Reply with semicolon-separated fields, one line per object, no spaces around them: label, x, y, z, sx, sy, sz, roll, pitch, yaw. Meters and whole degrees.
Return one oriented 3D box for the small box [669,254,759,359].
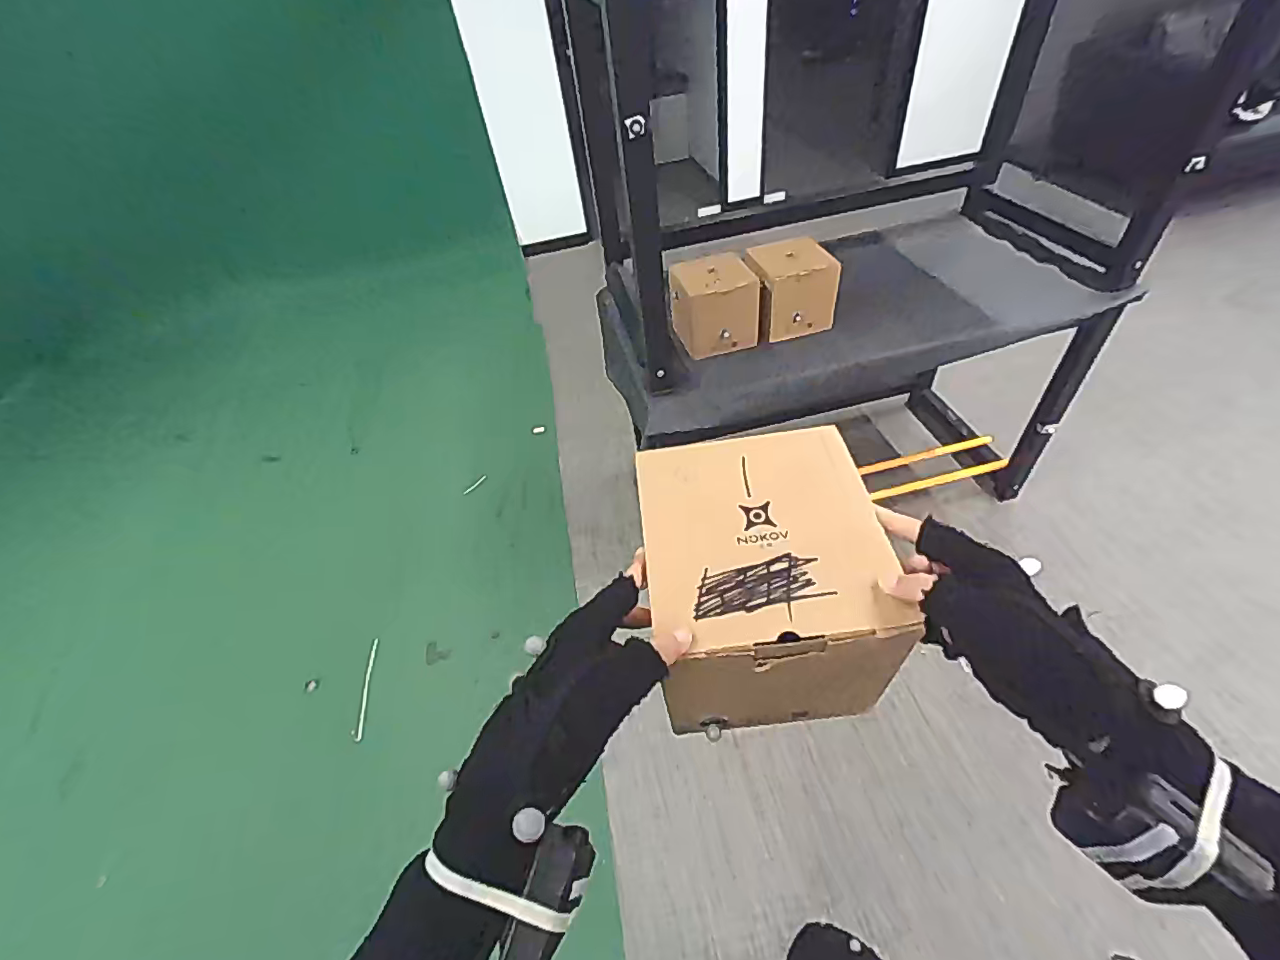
small box;0.174;-0.417;1.304;0.168;0.176;0.179;-15;45;-5

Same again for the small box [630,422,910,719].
small box;0.088;0.081;0.441;0.168;0.176;0.179;-8;49;2
